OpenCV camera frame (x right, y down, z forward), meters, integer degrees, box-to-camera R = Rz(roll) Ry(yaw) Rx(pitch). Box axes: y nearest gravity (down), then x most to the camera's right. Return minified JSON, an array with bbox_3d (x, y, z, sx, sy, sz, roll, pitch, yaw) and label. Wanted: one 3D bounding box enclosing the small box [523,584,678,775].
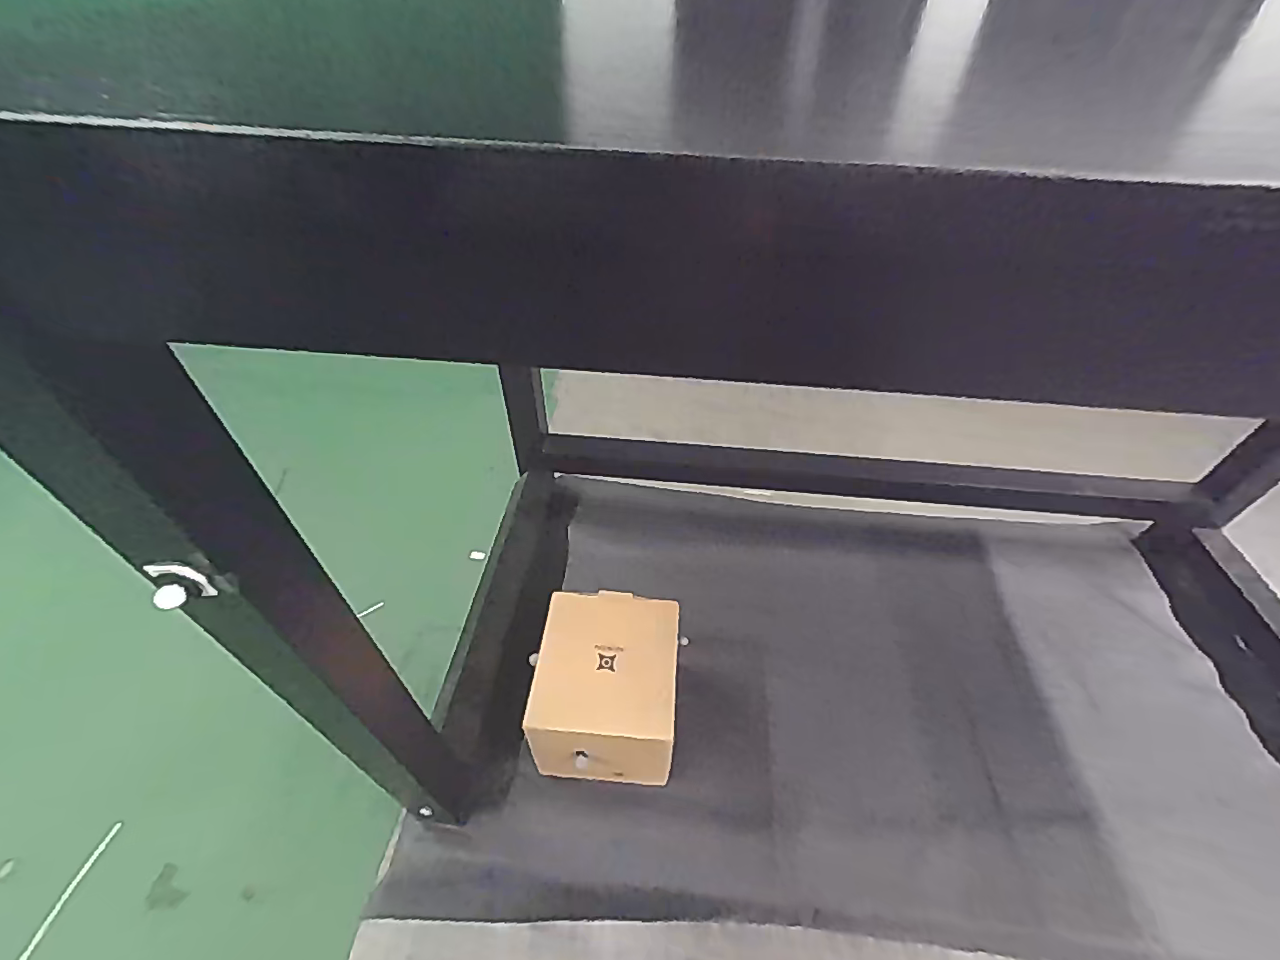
[{"bbox_3d":[-0.039,0.258,0.694,0.168,0.176,0.179,4,45,2],"label":"small box"}]
